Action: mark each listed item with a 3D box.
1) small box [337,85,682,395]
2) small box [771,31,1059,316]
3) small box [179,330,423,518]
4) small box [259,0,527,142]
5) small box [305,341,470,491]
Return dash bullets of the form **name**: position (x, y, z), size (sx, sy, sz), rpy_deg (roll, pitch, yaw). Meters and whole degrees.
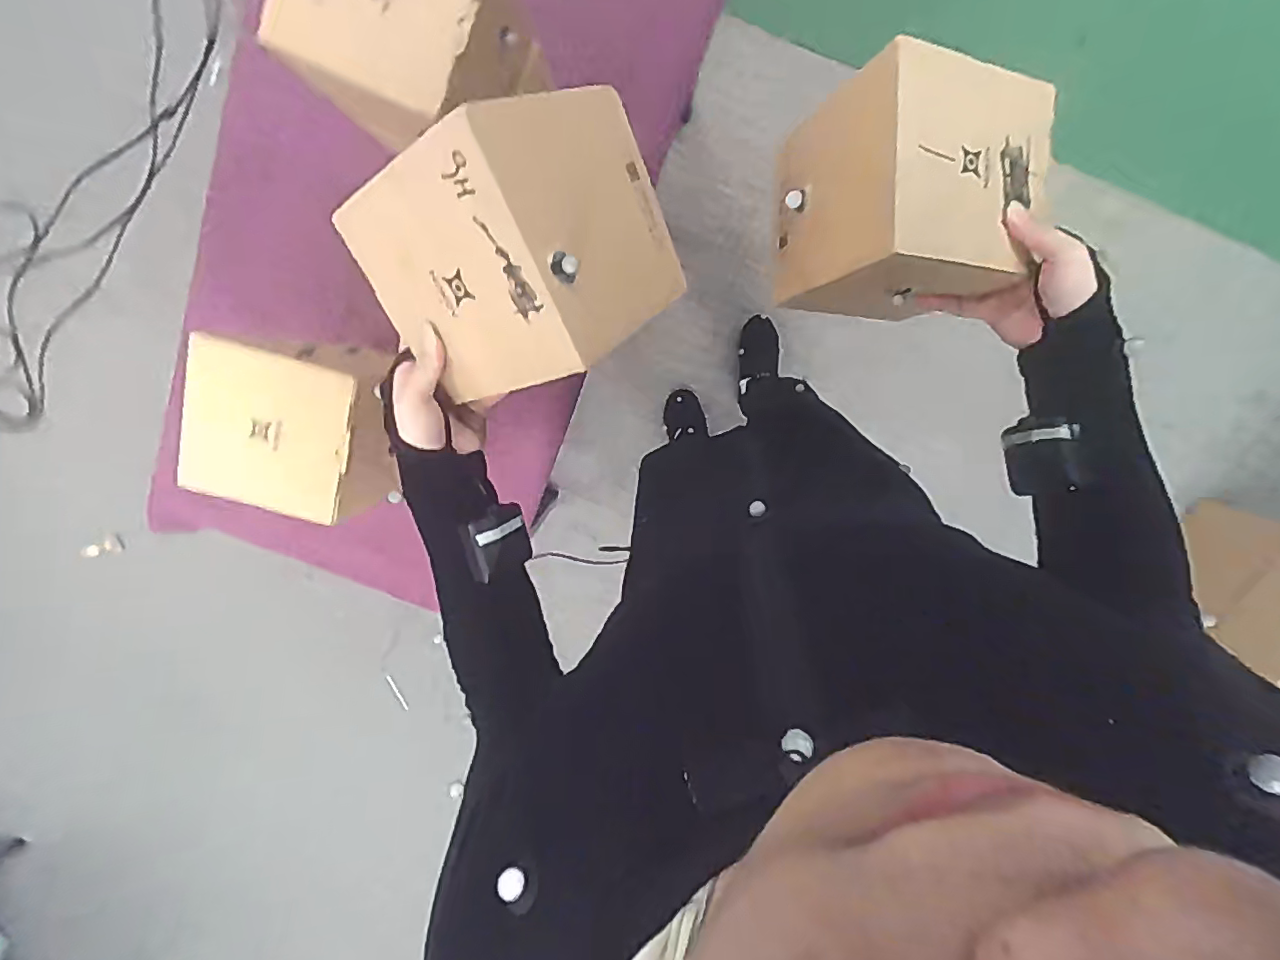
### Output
- **small box**: position (-0.095, -0.188, 0.442), size (0.179, 0.176, 0.168), rpy_deg (-3, 122, 40)
- **small box**: position (0.247, -0.261, 0.513), size (0.179, 0.176, 0.168), rpy_deg (0, 93, -19)
- **small box**: position (-0.391, -0.071, 0.648), size (0.179, 0.176, 0.168), rpy_deg (14, 101, -1)
- **small box**: position (-0.236, -0.458, 0.561), size (0.179, 0.176, 0.168), rpy_deg (23, 101, -2)
- **small box**: position (-0.381, -0.099, 0.808), size (0.179, 0.176, 0.168), rpy_deg (17, 102, -1)
